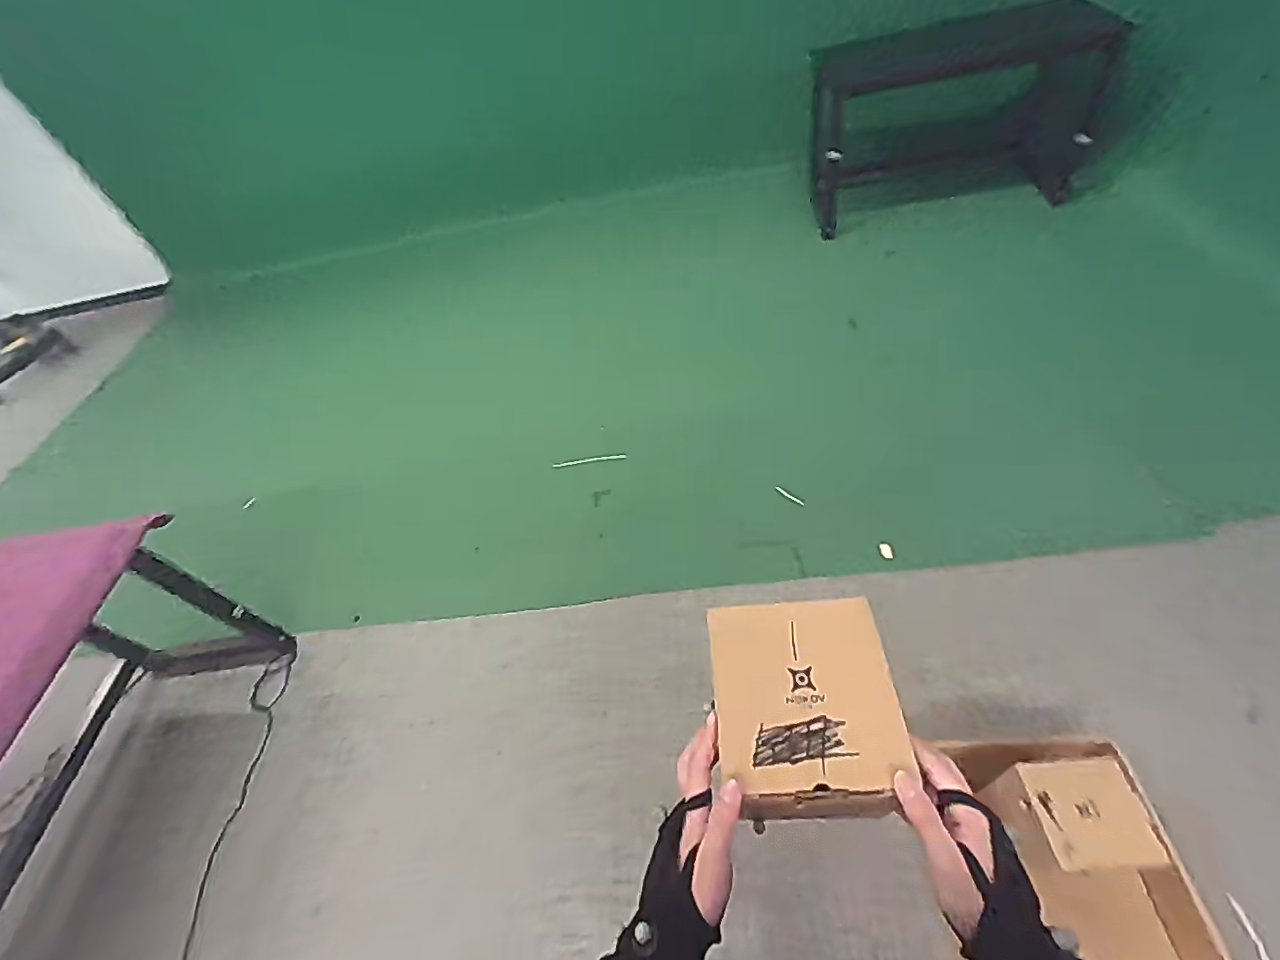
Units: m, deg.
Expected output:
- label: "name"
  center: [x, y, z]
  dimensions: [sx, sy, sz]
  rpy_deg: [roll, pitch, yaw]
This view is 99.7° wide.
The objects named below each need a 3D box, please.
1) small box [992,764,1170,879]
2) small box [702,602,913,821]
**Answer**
- label: "small box"
  center: [0.811, 0.646, 1.021]
  dimensions: [0.179, 0.176, 0.168]
  rpy_deg: [-7, 50, 7]
- label: "small box"
  center: [0.157, 0.247, 0.563]
  dimensions: [0.168, 0.176, 0.179]
  rpy_deg: [-6, 51, 6]
